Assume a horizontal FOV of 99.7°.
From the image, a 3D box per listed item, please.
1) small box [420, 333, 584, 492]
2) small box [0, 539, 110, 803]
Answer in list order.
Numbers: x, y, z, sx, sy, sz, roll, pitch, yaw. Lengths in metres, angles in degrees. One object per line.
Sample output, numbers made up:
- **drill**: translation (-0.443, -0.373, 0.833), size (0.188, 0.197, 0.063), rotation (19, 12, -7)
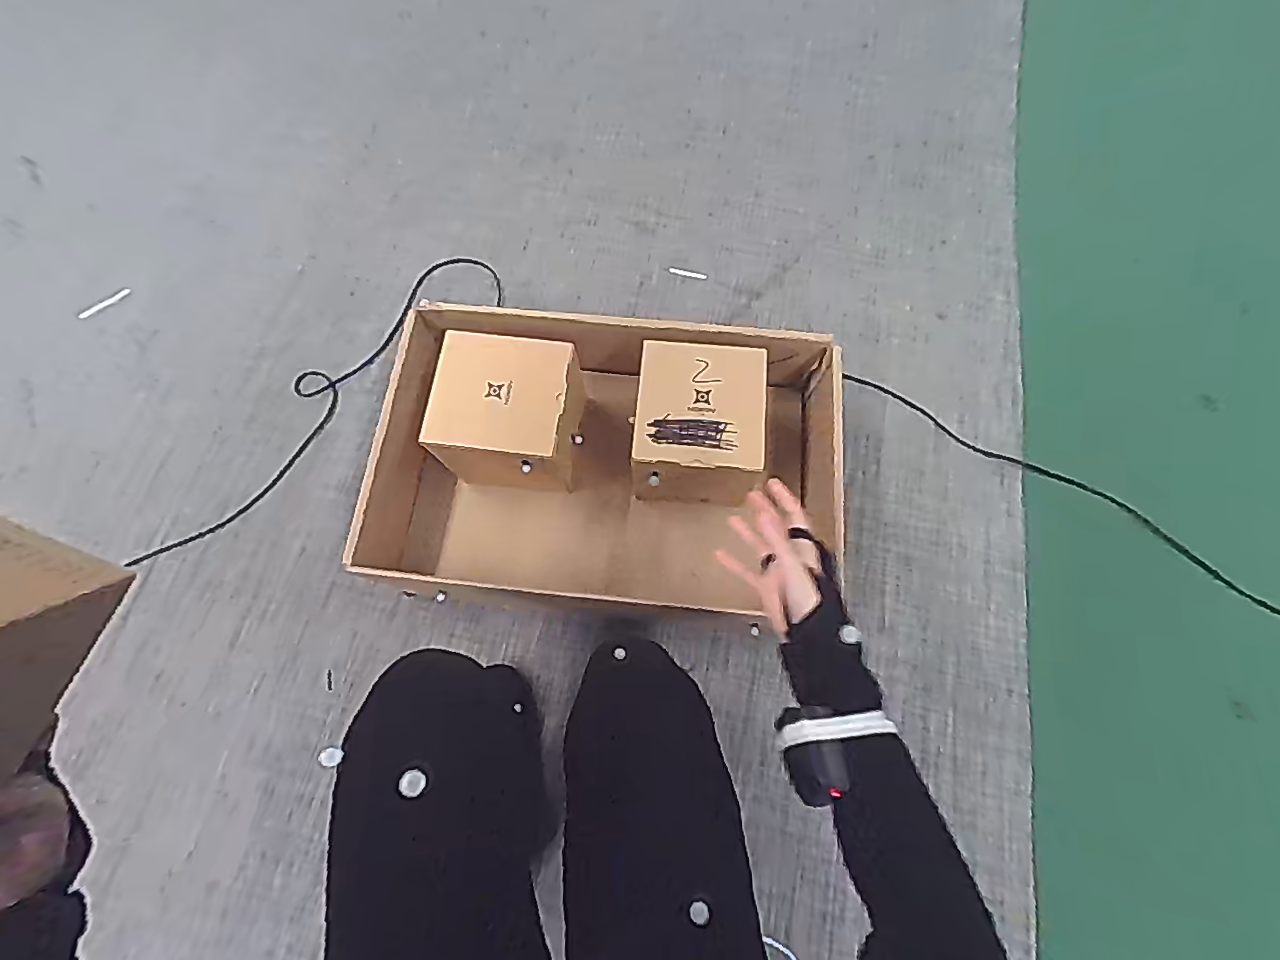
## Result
- **small box**: translation (-0.184, -0.088, 0.780), size (0.179, 0.176, 0.168), rotation (7, 73, 1)
- **small box**: translation (-0.369, 0.097, 0.200), size (0.168, 0.176, 0.179), rotation (31, 87, -14)
